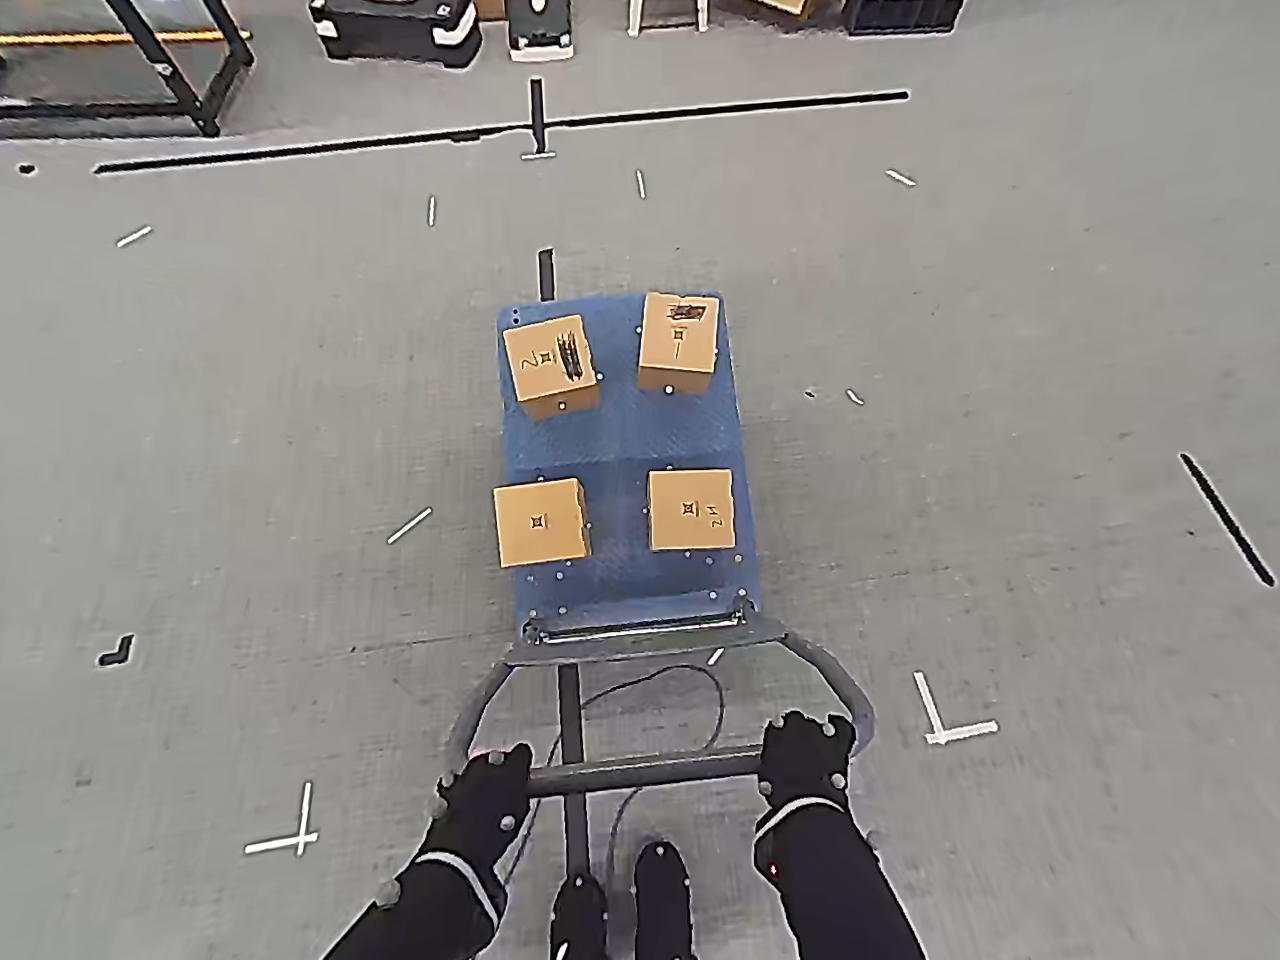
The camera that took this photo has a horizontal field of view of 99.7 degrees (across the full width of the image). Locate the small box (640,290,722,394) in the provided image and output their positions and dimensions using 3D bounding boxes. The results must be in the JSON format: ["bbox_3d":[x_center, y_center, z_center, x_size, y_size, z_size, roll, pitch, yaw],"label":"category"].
[{"bbox_3d":[0.089,-0.317,1.263,0.168,0.176,0.179,6,82,-1],"label":"small box"}]

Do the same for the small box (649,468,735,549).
[{"bbox_3d":[0.108,0.068,1.204,0.179,0.176,0.168,-1,82,-1],"label":"small box"}]

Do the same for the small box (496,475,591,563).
[{"bbox_3d":[-0.208,0.092,1.193,0.179,0.176,0.168,-7,81,-4],"label":"small box"}]
